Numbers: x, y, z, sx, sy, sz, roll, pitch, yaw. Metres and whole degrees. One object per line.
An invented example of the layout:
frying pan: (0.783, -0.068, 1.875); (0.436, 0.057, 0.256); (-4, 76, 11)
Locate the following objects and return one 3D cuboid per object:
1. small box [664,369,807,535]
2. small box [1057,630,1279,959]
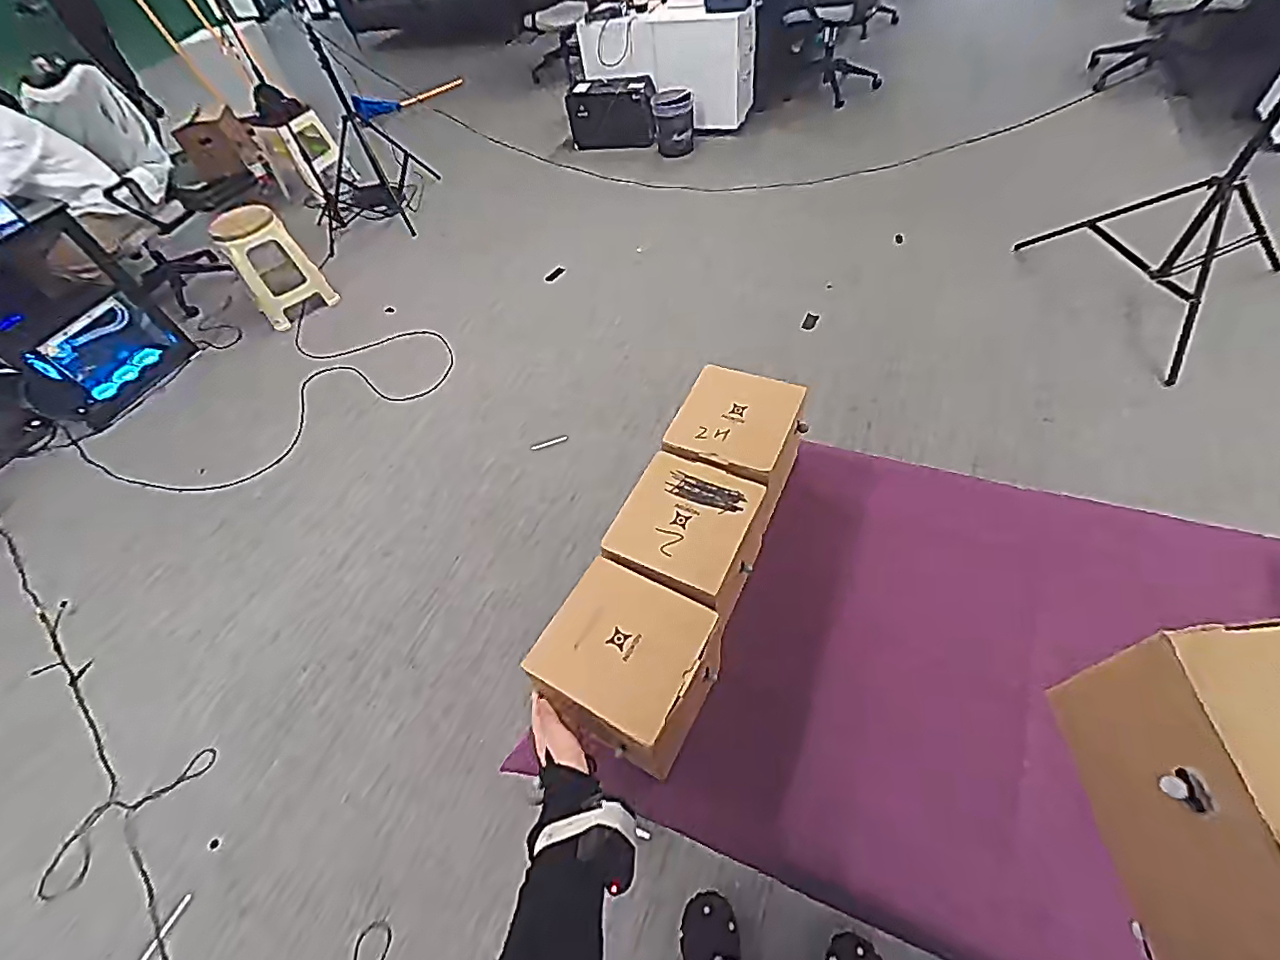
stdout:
small box: (0.152, -0.044, 0.862); (0.168, 0.176, 0.179); (18, 58, 21)
small box: (0.391, 0.195, 0.312); (0.168, 0.176, 0.179); (-8, 57, 10)
